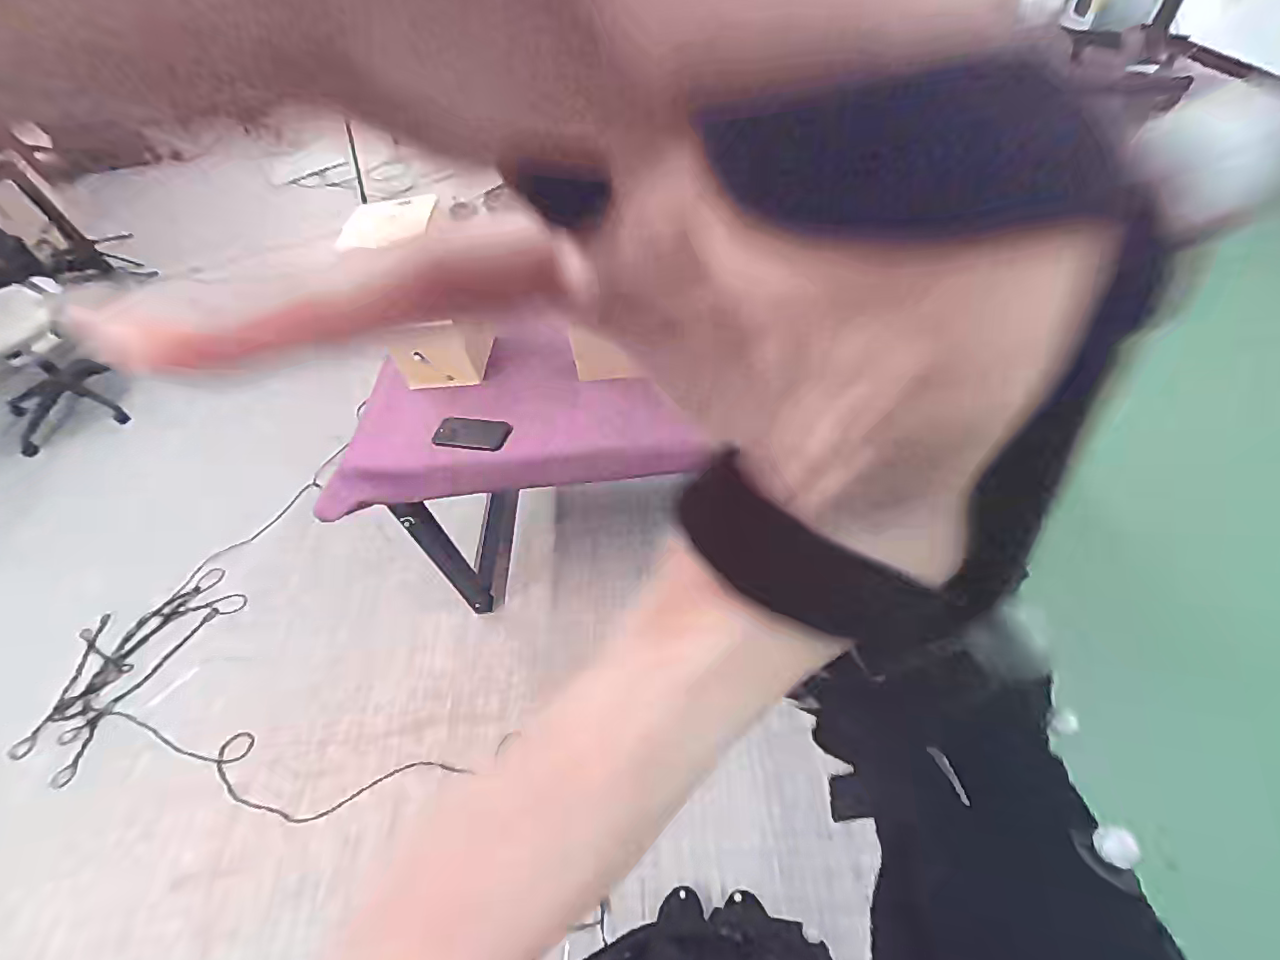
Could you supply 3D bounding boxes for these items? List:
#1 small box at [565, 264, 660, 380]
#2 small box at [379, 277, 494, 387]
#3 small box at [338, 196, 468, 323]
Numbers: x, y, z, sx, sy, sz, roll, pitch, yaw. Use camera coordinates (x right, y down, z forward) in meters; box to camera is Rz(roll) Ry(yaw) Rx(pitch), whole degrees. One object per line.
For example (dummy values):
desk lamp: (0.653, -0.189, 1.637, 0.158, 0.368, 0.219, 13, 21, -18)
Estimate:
small box: (-0.049, -0.331, 1.144, 0.179, 0.176, 0.168, -4, 51, 5)
small box: (-0.436, -0.320, 1.194, 0.168, 0.176, 0.179, -3, 51, 6)
small box: (-0.455, -0.428, 1.071, 0.168, 0.176, 0.179, -7, 52, 2)
